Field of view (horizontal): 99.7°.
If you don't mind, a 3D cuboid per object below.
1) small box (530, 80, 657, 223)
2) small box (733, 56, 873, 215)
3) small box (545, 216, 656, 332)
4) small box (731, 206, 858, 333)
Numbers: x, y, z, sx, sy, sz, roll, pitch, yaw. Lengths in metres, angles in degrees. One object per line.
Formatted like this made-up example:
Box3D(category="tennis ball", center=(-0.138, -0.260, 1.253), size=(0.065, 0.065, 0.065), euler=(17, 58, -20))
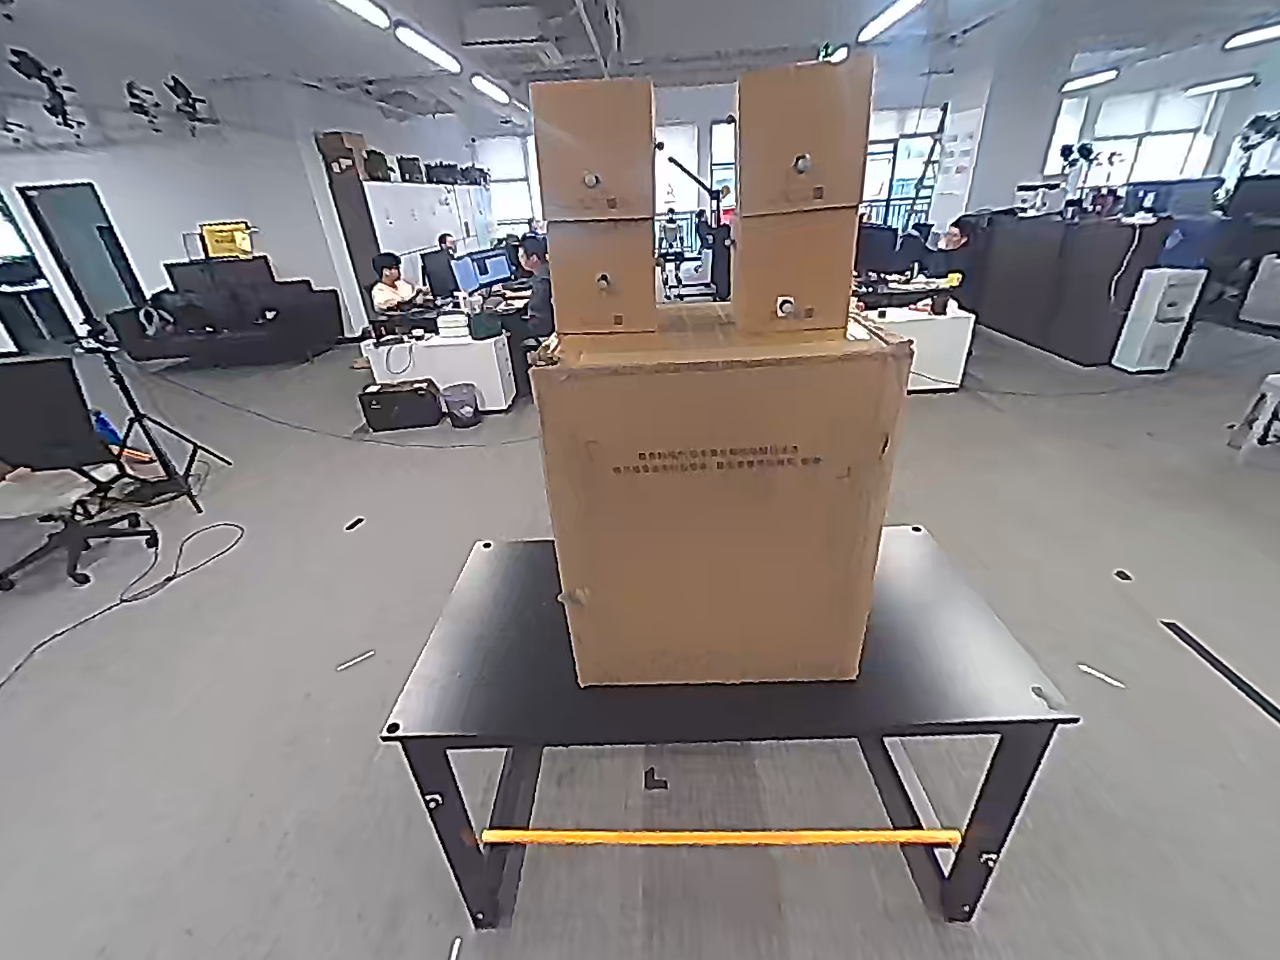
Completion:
Box3D(category="small box", center=(-0.060, -0.489, 0.822), size=(0.168, 0.176, 0.179), euler=(-1, 28, 3))
Box3D(category="small box", center=(0.220, -0.481, 0.778), size=(0.168, 0.176, 0.179), euler=(-2, 28, 8))
Box3D(category="small box", center=(-0.057, -0.350, 0.914), size=(0.168, 0.176, 0.179), euler=(-1, 28, 2))
Box3D(category="small box", center=(0.233, -0.339, 0.862), size=(0.168, 0.176, 0.179), euler=(-3, 29, 6))
